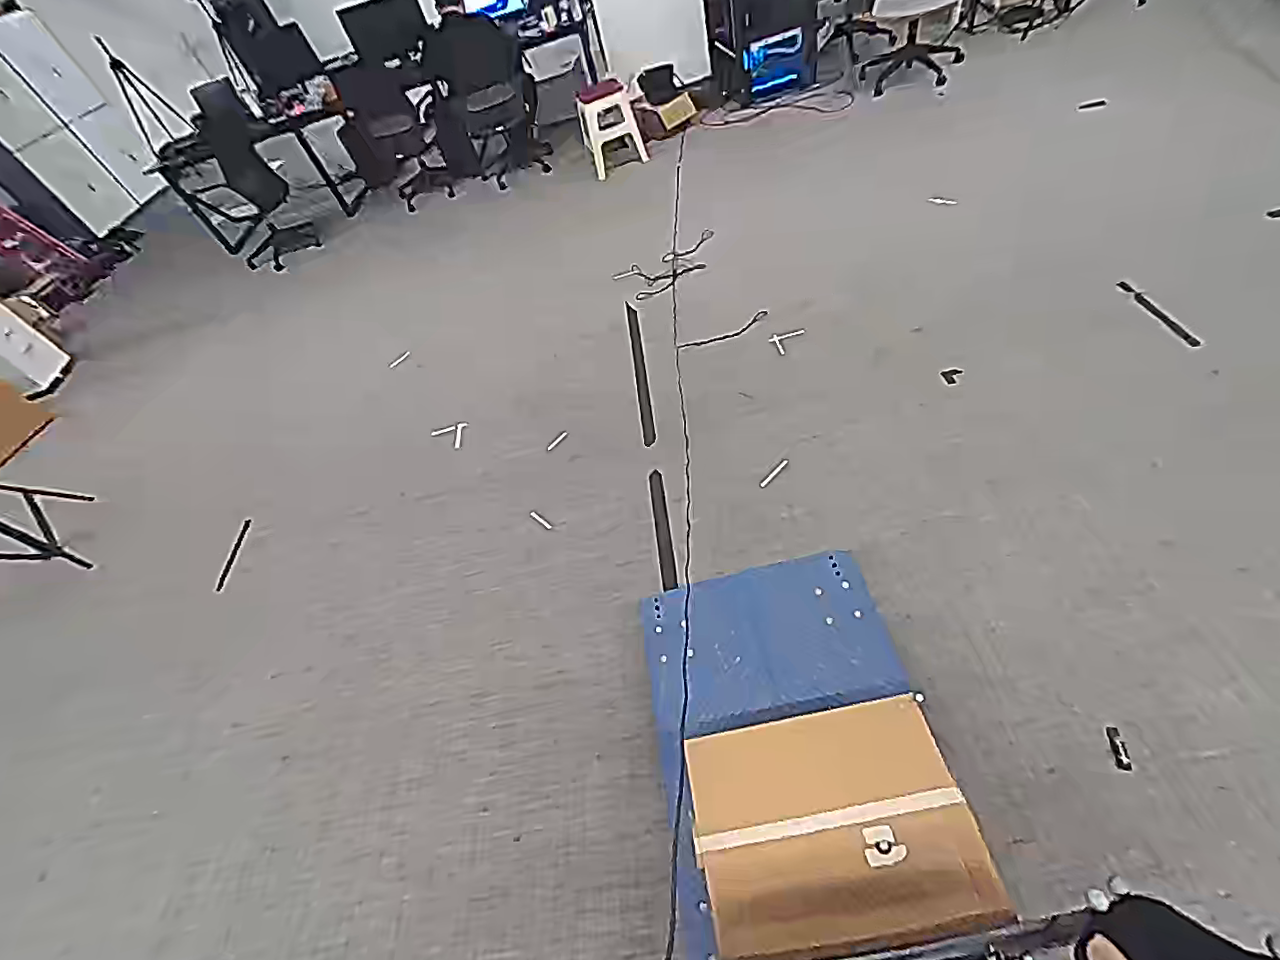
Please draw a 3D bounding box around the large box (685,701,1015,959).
[{"bbox_3d":[0.320,0.630,0.934,0.408,0.320,0.320,-14,48,5],"label":"large box"}]
